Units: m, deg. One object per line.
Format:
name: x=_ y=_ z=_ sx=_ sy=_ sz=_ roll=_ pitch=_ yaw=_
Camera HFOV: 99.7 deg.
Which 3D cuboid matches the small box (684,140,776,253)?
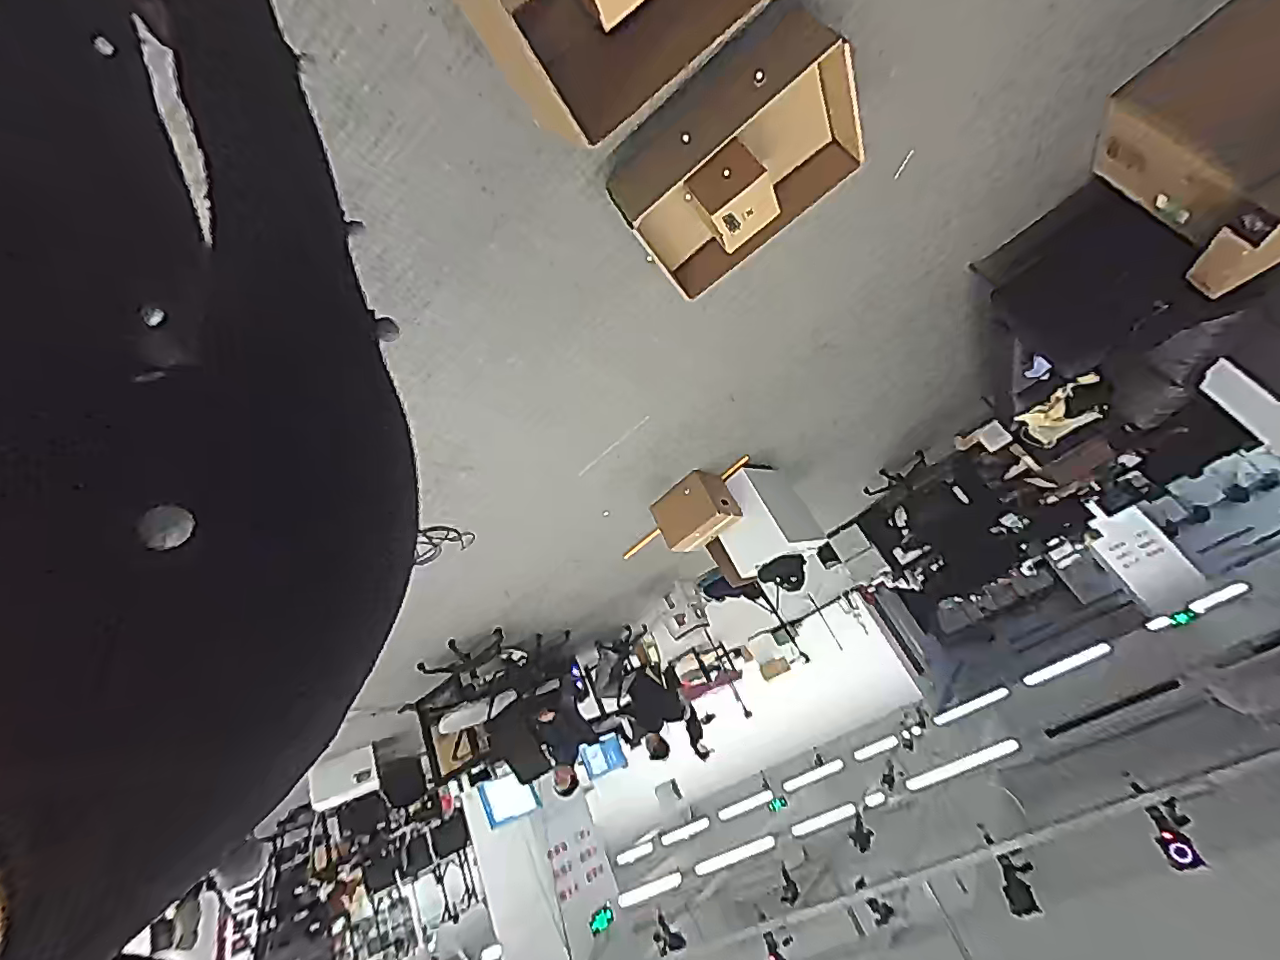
small box: x=0.240 y=-0.774 z=1.482 sx=0.179 sy=0.176 sz=0.168 roll=-36 pitch=154 yaw=13
